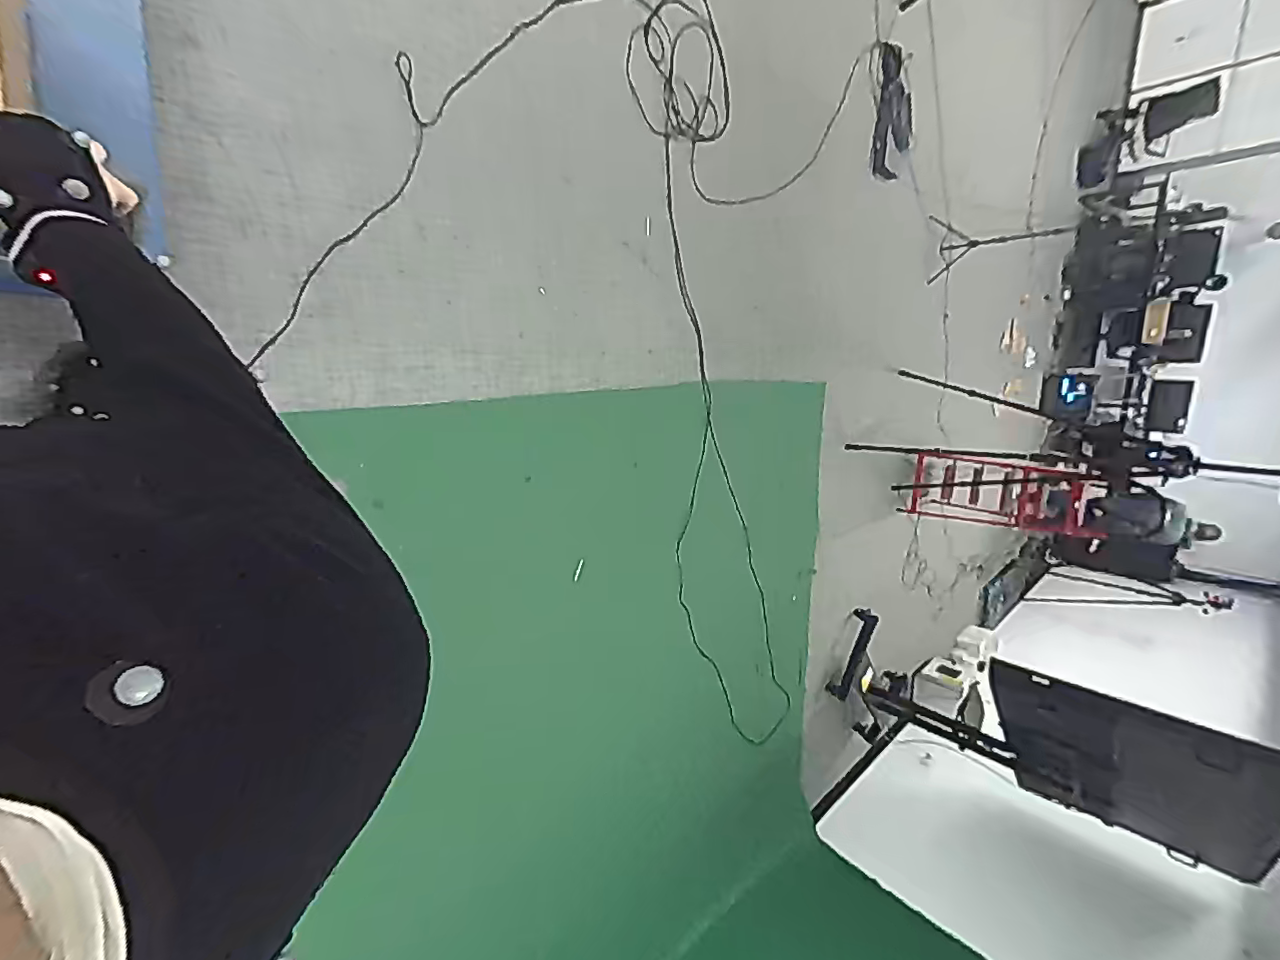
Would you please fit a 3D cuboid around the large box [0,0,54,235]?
[{"bbox_3d":[-1.053,-0.593,0.720,0.320,0.320,0.408,-6,101,-42],"label":"large box"}]
